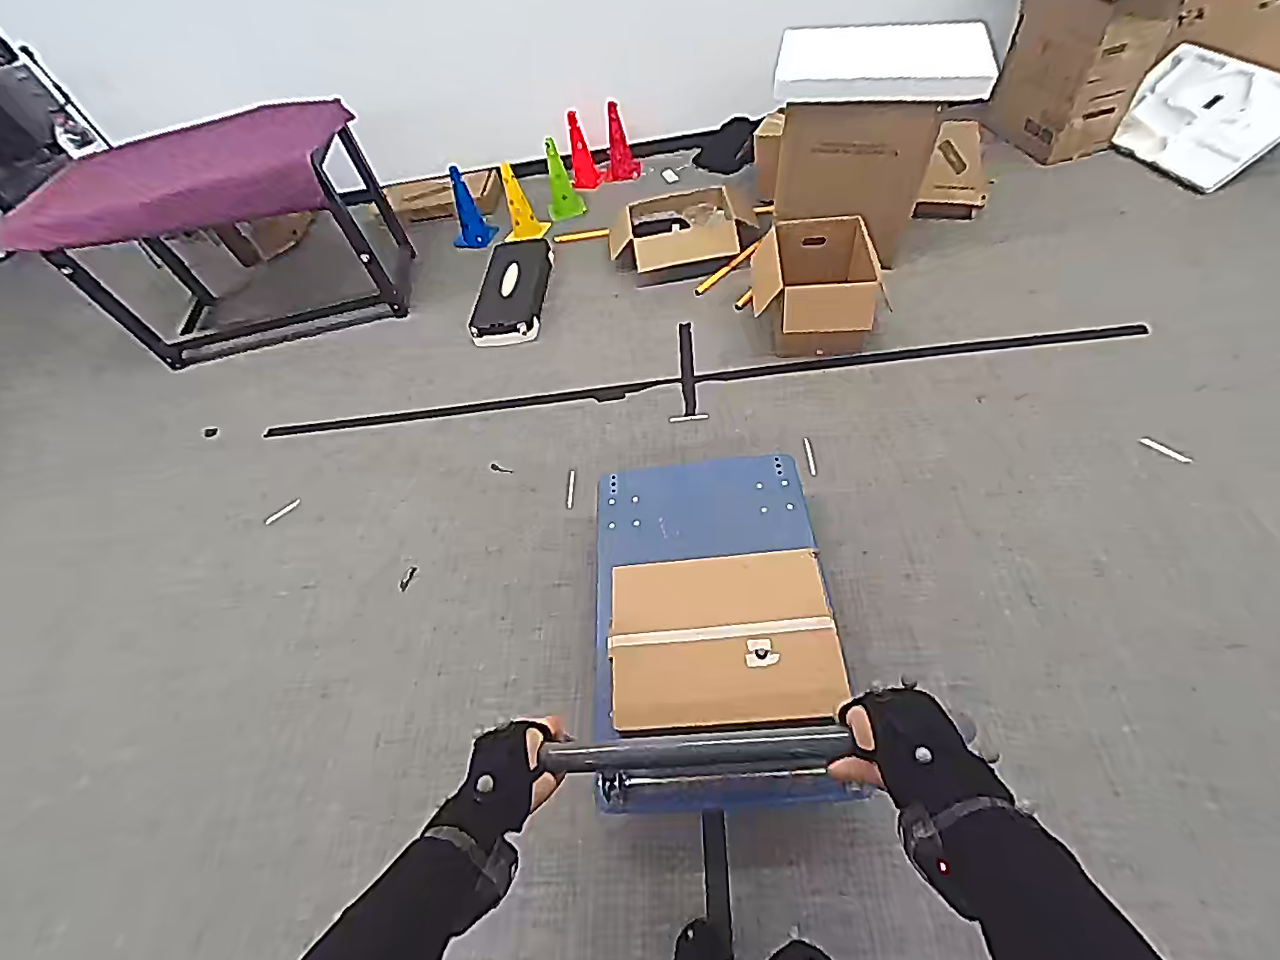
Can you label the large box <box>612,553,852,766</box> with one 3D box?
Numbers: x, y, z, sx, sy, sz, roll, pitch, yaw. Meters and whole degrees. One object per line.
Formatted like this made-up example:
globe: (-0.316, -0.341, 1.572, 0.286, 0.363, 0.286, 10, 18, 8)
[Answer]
large box: (0.164, 0.377, 1.105, 0.408, 0.320, 0.320, -6, 54, 5)
